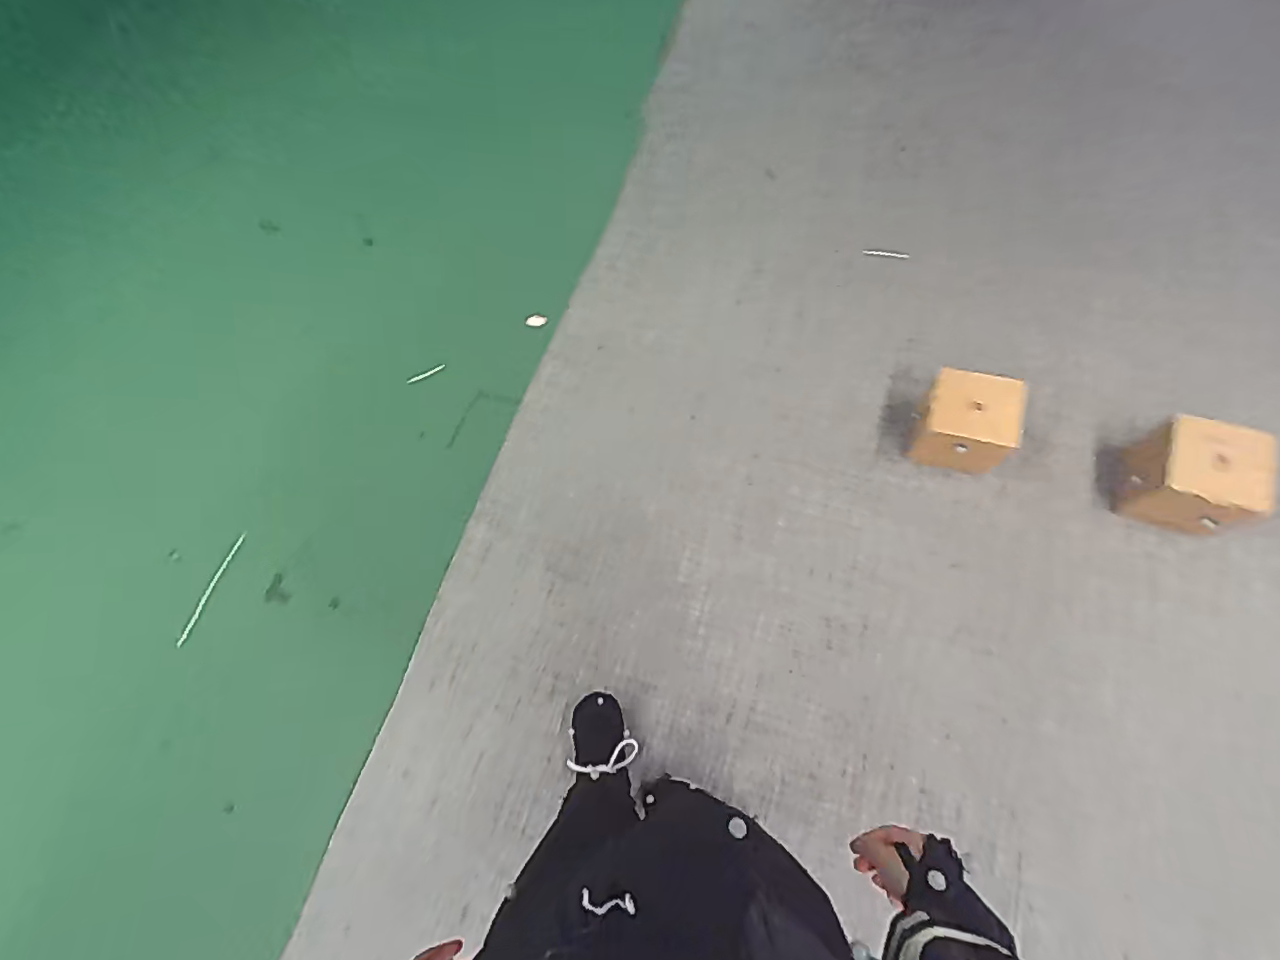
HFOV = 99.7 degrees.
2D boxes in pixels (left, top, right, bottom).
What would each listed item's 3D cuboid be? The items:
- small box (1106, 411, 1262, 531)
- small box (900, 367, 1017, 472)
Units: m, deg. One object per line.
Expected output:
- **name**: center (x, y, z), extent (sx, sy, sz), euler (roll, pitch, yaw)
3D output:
- **small box**: center (1.122, -0.012, 1.128), extent (0.168, 0.176, 0.179), euler (18, 71, 14)
- **small box**: center (0.725, -0.133, 1.243), extent (0.179, 0.176, 0.168), euler (14, 71, 15)
